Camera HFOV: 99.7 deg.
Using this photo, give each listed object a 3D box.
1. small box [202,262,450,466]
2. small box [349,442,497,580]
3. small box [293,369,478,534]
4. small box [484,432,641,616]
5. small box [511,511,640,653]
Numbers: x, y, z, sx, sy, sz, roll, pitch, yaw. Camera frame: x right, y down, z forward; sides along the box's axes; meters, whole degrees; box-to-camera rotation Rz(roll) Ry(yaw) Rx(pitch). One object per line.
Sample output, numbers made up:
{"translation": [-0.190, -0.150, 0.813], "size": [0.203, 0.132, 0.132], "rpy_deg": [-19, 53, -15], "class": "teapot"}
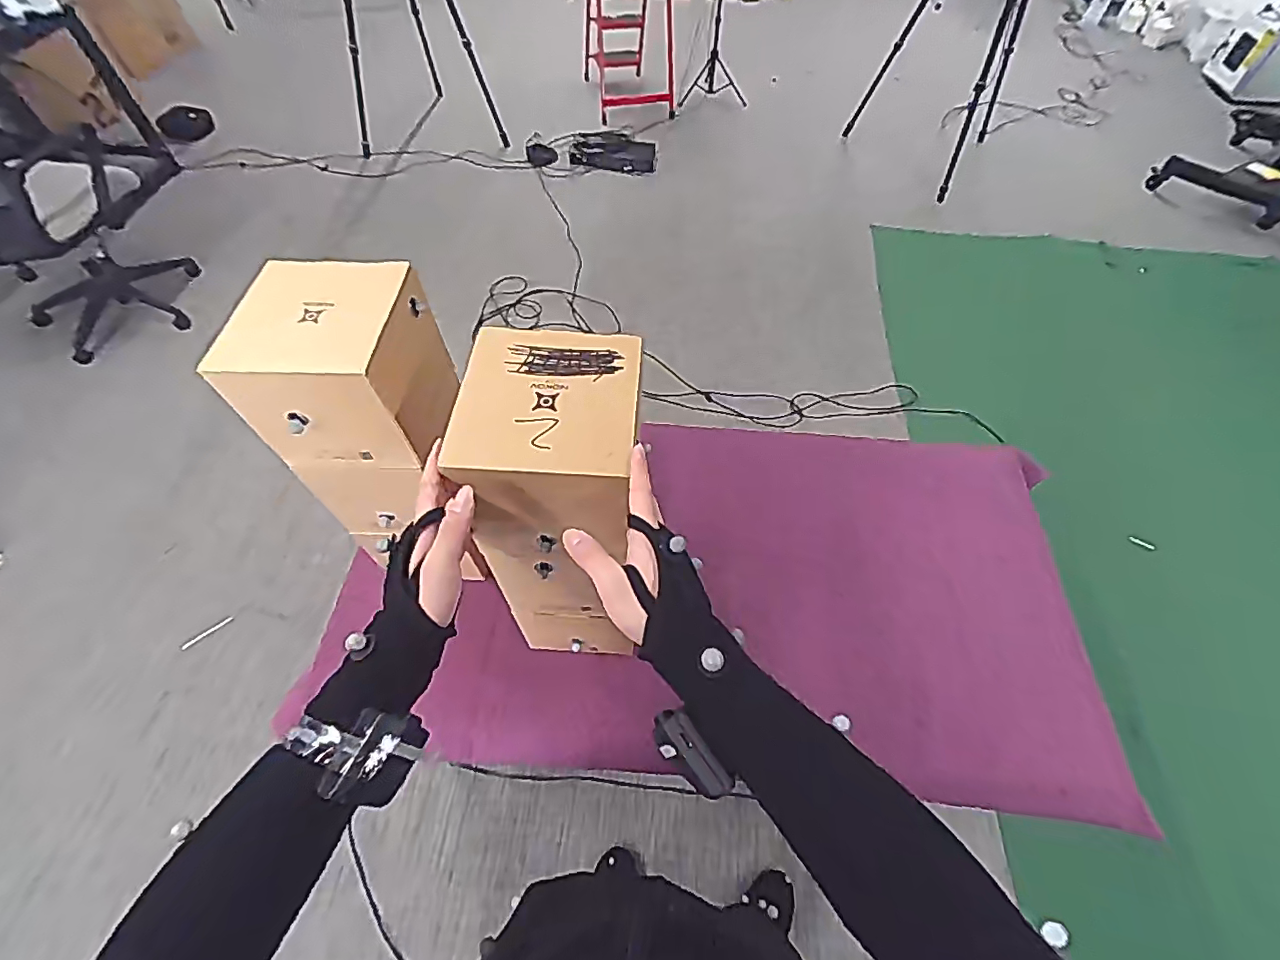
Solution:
{"translation": [-0.340, -0.130, 0.631], "size": [0.168, 0.176, 0.179], "rpy_deg": [1, 56, 1], "class": "small box"}
{"translation": [-0.343, 0.050, 0.903], "size": [0.168, 0.176, 0.179], "rpy_deg": [2, 57, 1], "class": "small box"}
{"translation": [-0.340, -0.041, 0.768], "size": [0.168, 0.176, 0.179], "rpy_deg": [2, 58, 1], "class": "small box"}
{"translation": [-0.087, 0.060, 0.703], "size": [0.168, 0.176, 0.179], "rpy_deg": [3, 56, 2], "class": "small box"}
{"translation": [-0.090, 0.153, 0.839], "size": [0.168, 0.176, 0.179], "rpy_deg": [3, 57, 2], "class": "small box"}
